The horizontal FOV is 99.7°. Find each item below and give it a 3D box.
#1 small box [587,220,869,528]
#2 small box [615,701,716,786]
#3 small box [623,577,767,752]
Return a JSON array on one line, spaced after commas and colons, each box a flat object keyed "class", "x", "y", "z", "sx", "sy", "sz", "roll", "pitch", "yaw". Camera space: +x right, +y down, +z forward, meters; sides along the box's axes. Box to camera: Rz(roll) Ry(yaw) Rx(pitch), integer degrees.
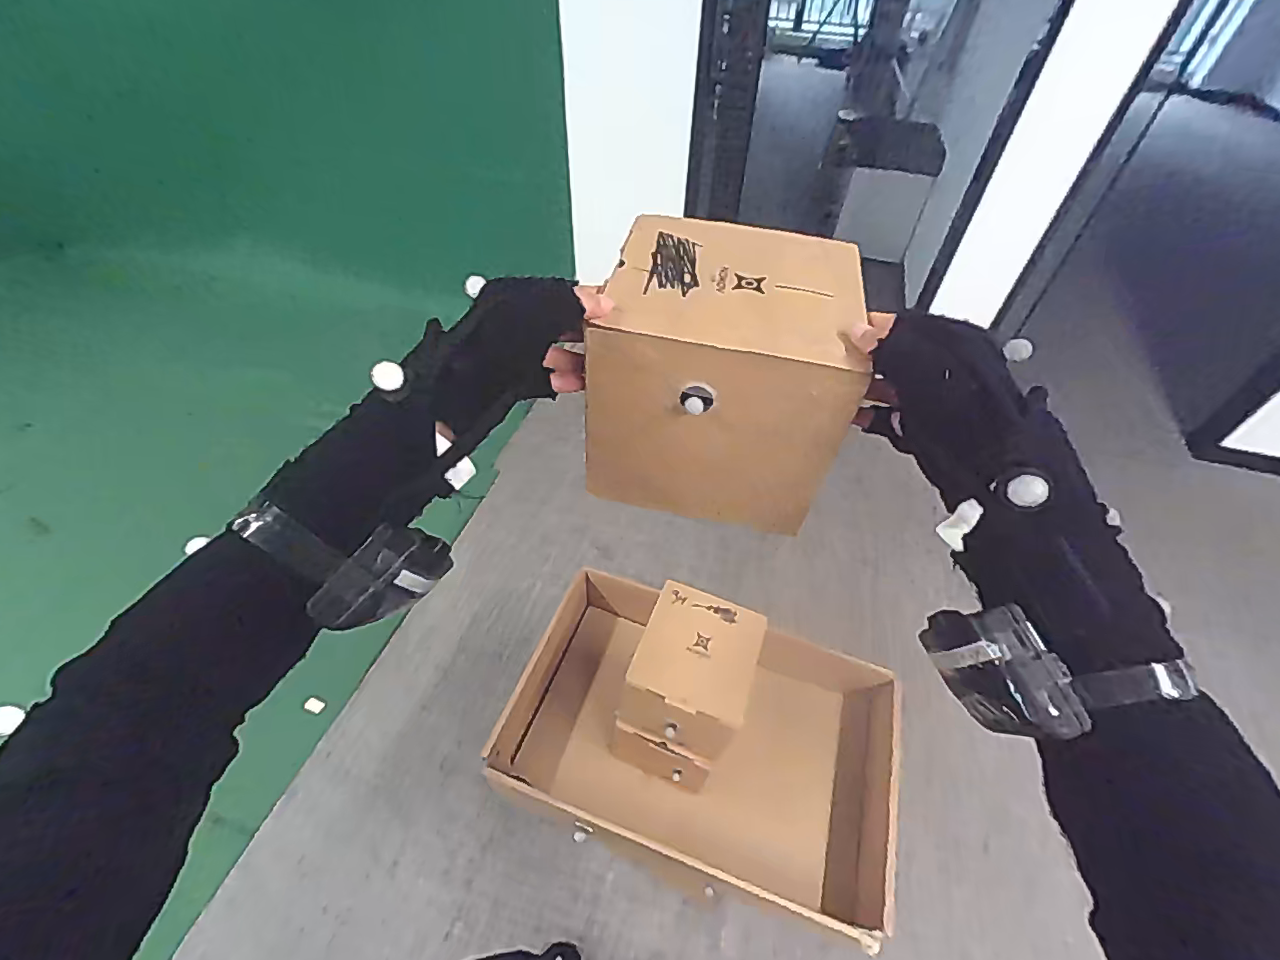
[{"class": "small box", "x": 0.062, "y": -0.081, "z": 0.437, "sx": 0.179, "sy": 0.176, "sz": 0.168, "roll": 12, "pitch": 49, "yaw": 5}, {"class": "small box", "x": 0.063, "y": 0.403, "z": 0.950, "sx": 0.168, "sy": 0.176, "sz": 0.179, "roll": 20, "pitch": 48, "yaw": 11}, {"class": "small box", "x": 0.080, "y": 0.288, "z": 0.834, "sx": 0.168, "sy": 0.176, "sz": 0.179, "roll": 20, "pitch": 51, "yaw": 11}]
